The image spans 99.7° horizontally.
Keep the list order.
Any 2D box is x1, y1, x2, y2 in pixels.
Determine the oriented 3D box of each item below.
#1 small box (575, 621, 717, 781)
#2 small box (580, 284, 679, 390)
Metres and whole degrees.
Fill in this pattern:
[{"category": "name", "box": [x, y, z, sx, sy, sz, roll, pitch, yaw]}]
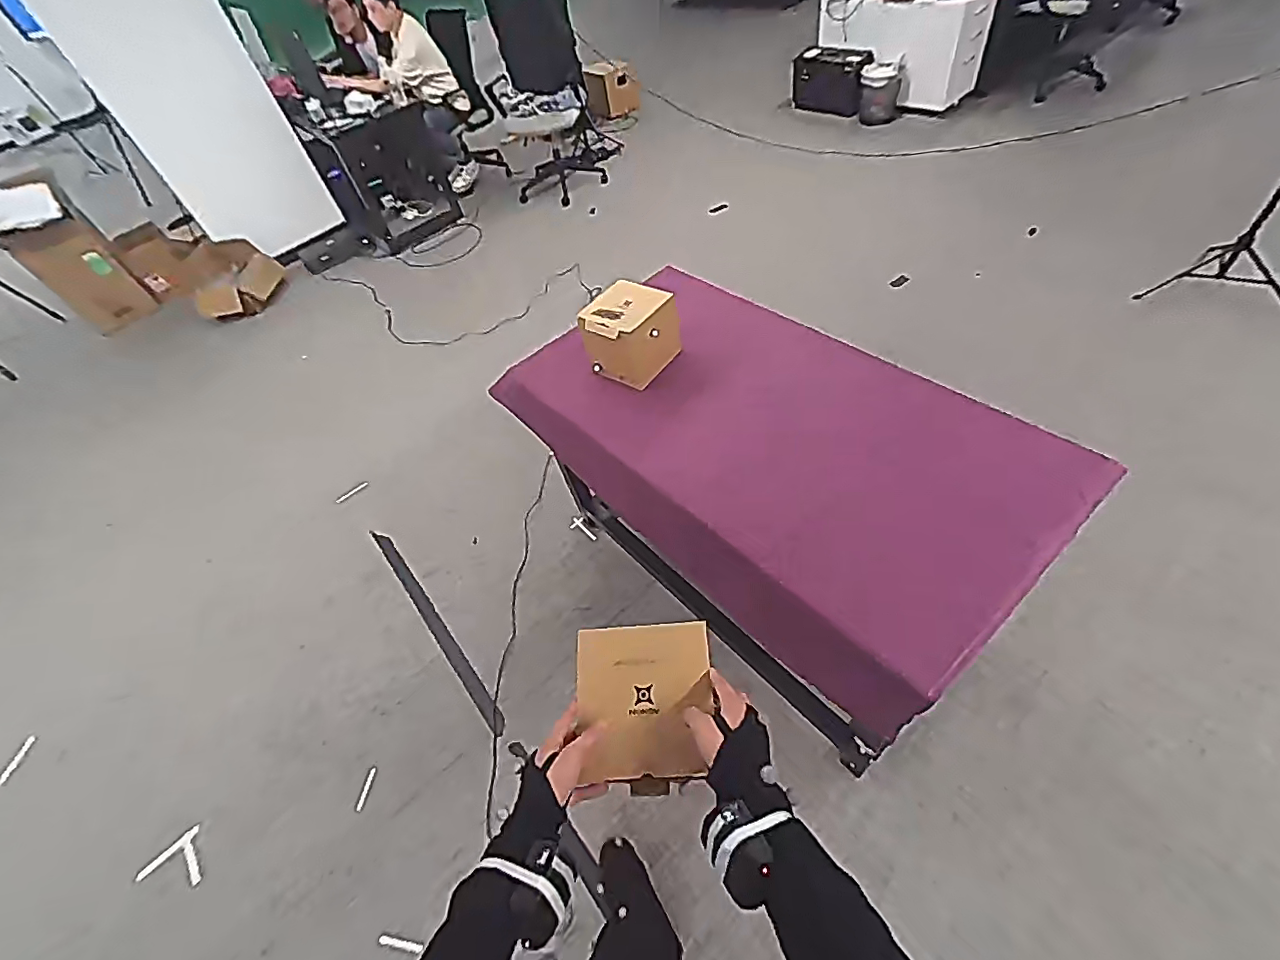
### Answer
[{"category": "small box", "box": [0.015, 0.298, 0.718, 0.168, 0.176, 0.179, -4, 60, 5]}, {"category": "small box", "box": [-0.017, -0.351, 1.340, 0.168, 0.176, 0.179, 27, 60, 29]}]
